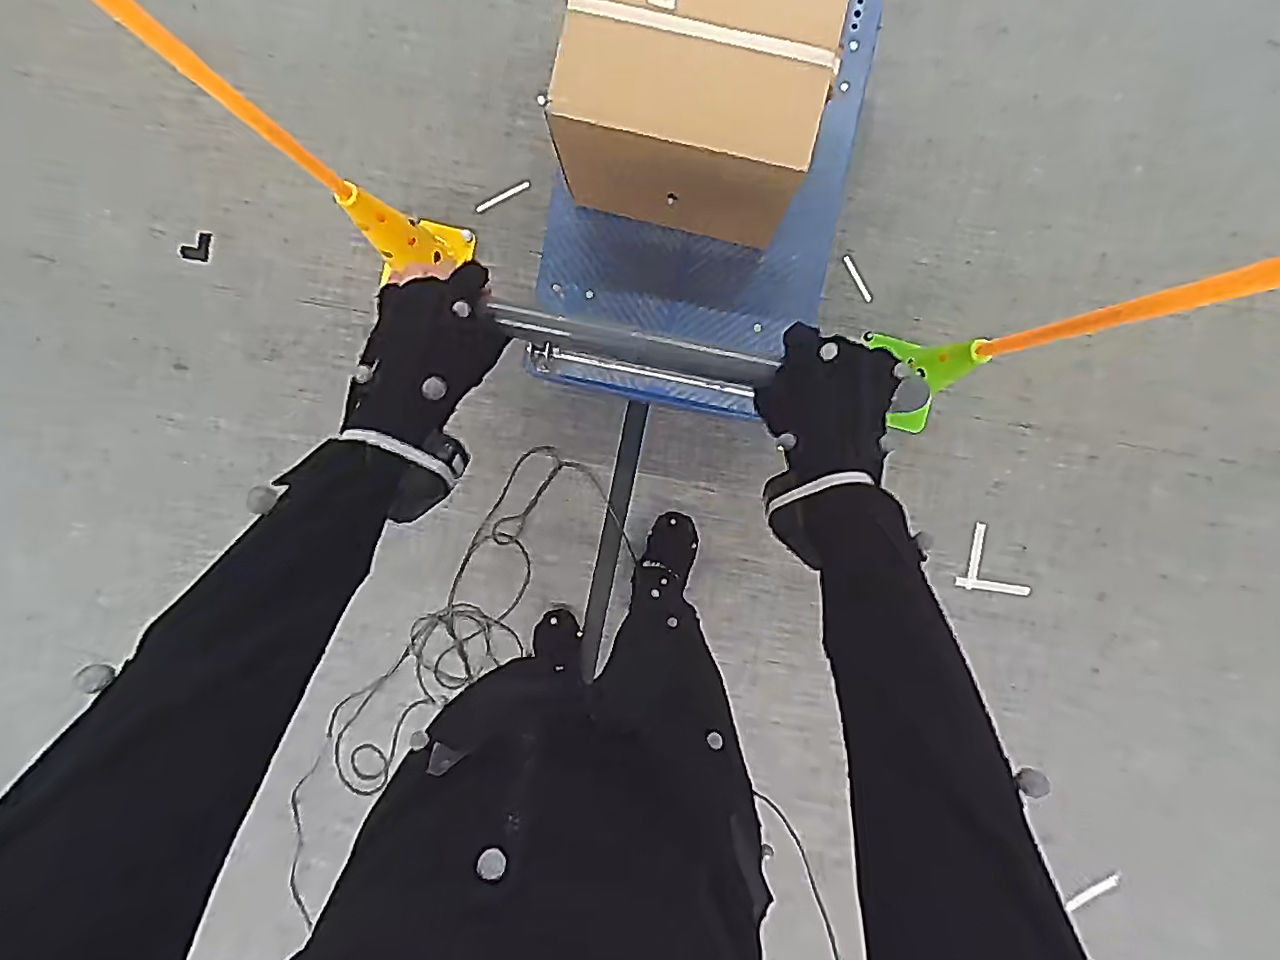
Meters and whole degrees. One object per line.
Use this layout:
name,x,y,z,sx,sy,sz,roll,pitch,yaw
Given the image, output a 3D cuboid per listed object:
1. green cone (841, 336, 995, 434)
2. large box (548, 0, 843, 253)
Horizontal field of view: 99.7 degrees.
green cone,0.589,-0.217,1.107,0.202,0.368,0.200,15,93,0
large box,0.090,-0.643,0.965,0.408,0.320,0.320,14,93,2
